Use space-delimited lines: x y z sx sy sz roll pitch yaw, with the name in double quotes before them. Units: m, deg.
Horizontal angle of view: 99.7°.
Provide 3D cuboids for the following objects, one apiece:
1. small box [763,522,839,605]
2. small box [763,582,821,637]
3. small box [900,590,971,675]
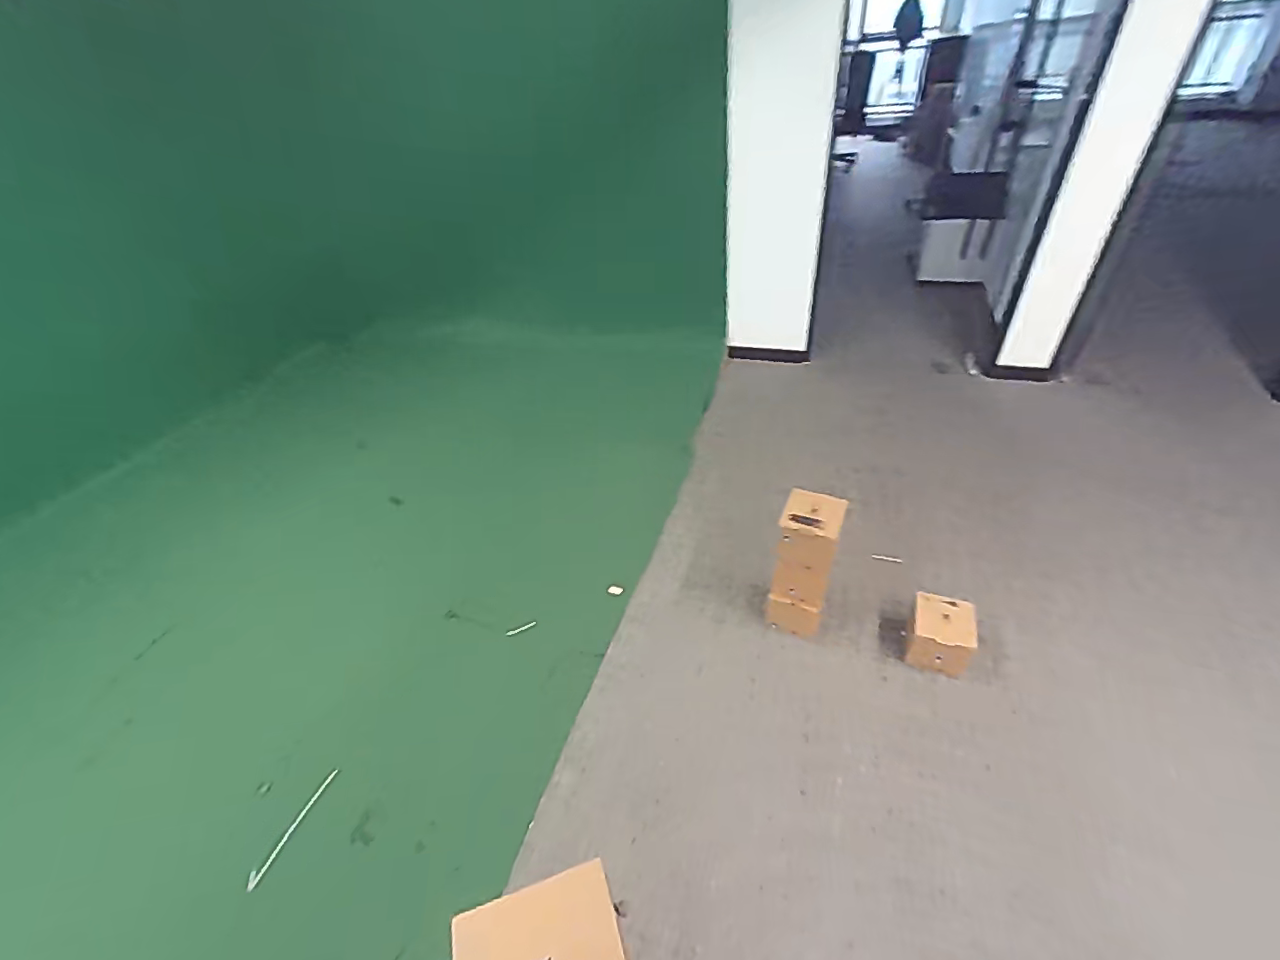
"small box" 0.517 0.276 1.765 0.168 0.176 0.179 -28 45 -20
"small box" 0.525 0.405 1.852 0.168 0.176 0.179 14 44 22
"small box" 0.930 0.484 1.708 0.168 0.176 0.179 12 45 20
